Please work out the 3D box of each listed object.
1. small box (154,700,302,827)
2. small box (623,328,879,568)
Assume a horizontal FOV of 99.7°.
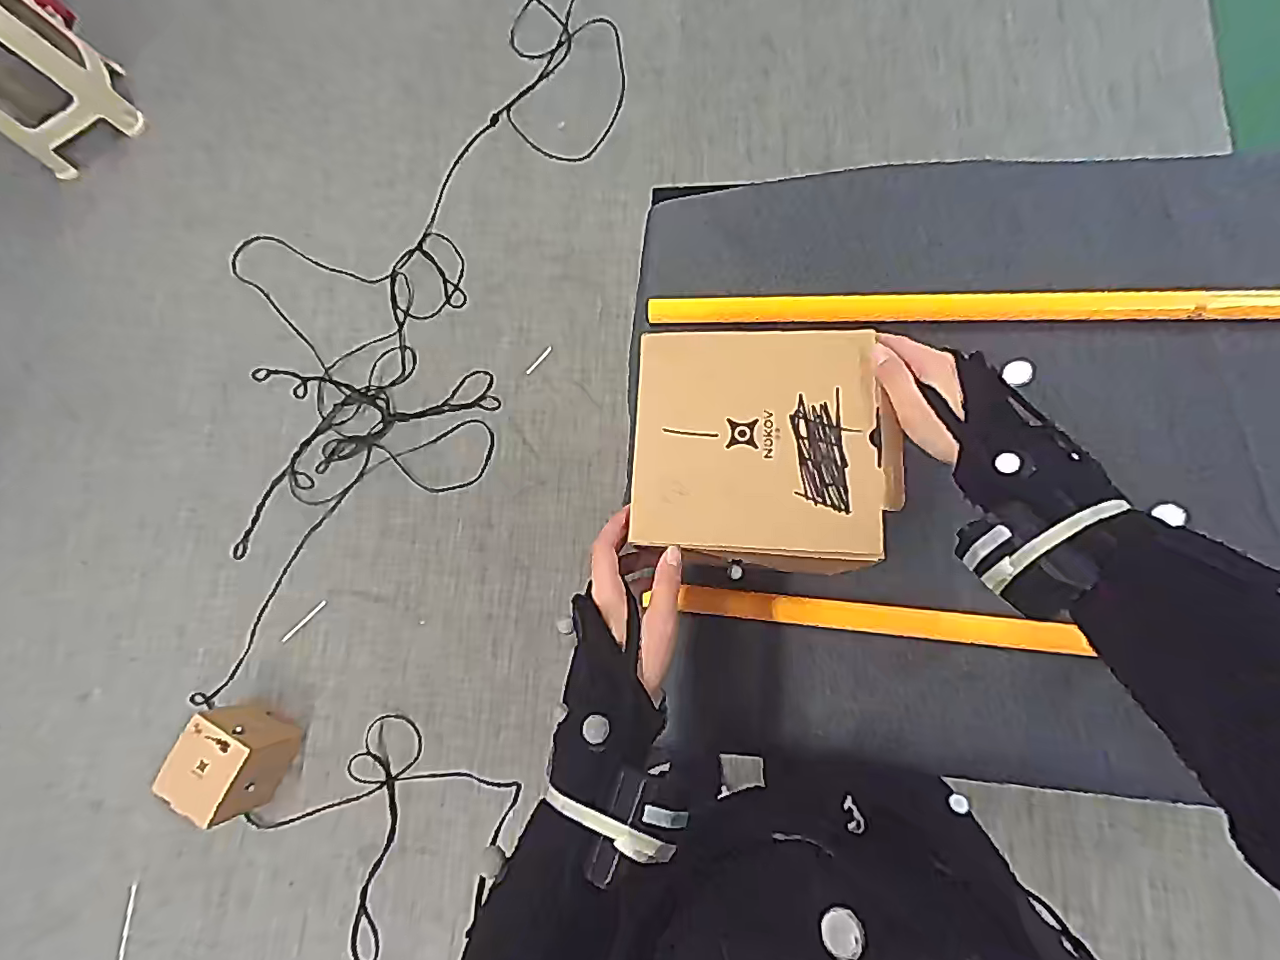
[{"bbox_3d":[-0.915,0.625,1.218,0.168,0.176,0.179,24,81,13],"label":"small box"},{"bbox_3d":[0.090,-0.016,0.466,0.179,0.176,0.168,3,77,9],"label":"small box"}]
